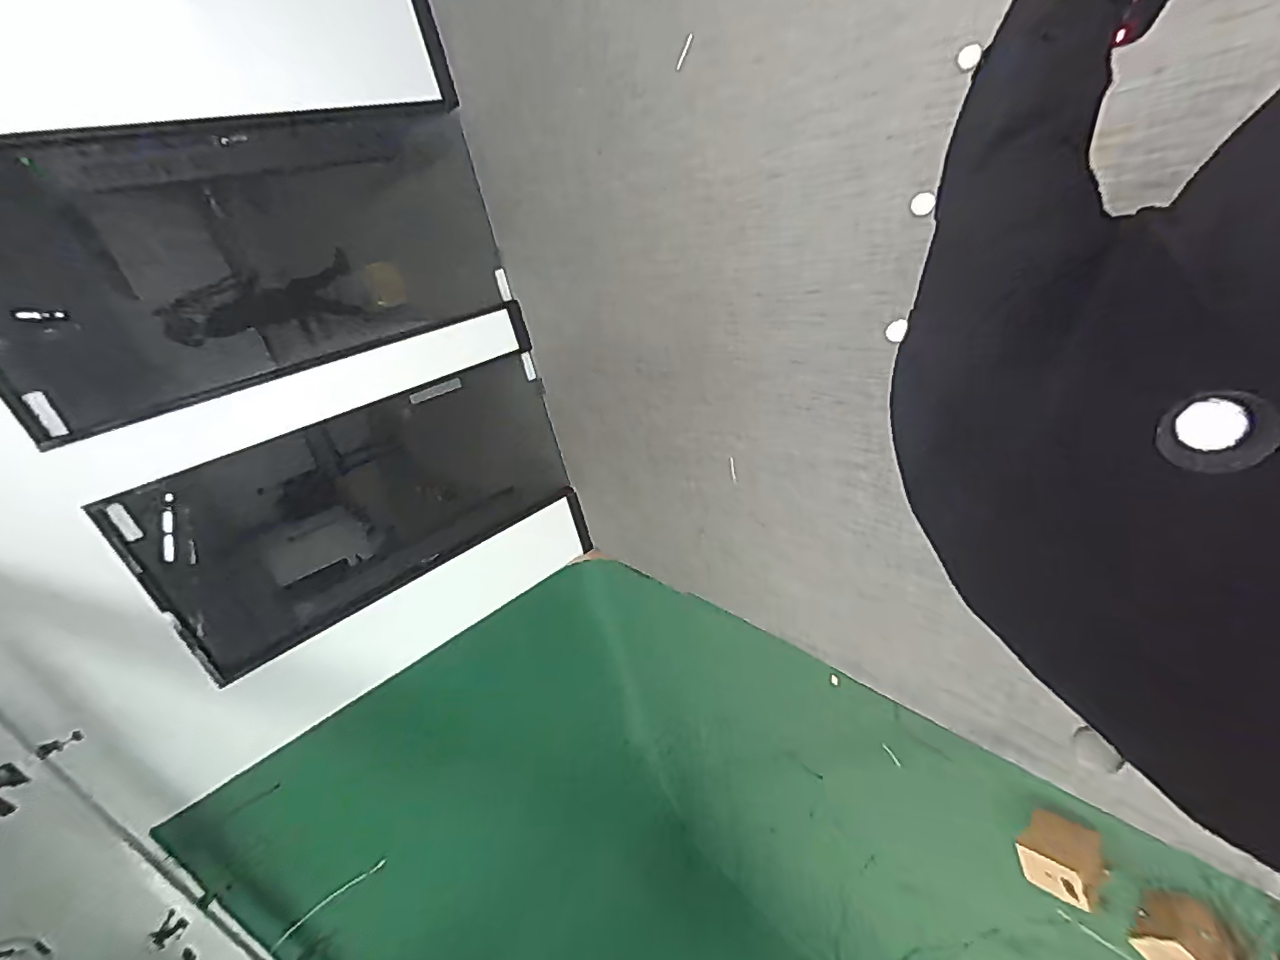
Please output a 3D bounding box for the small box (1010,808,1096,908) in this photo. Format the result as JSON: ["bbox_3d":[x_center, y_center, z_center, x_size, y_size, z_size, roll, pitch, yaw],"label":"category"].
[{"bbox_3d":[1.350,1.217,1.759,0.179,0.176,0.168,-3,113,57],"label":"small box"}]

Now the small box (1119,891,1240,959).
[{"bbox_3d":[1.555,1.331,1.560,0.179,0.176,0.168,46,147,21],"label":"small box"}]
